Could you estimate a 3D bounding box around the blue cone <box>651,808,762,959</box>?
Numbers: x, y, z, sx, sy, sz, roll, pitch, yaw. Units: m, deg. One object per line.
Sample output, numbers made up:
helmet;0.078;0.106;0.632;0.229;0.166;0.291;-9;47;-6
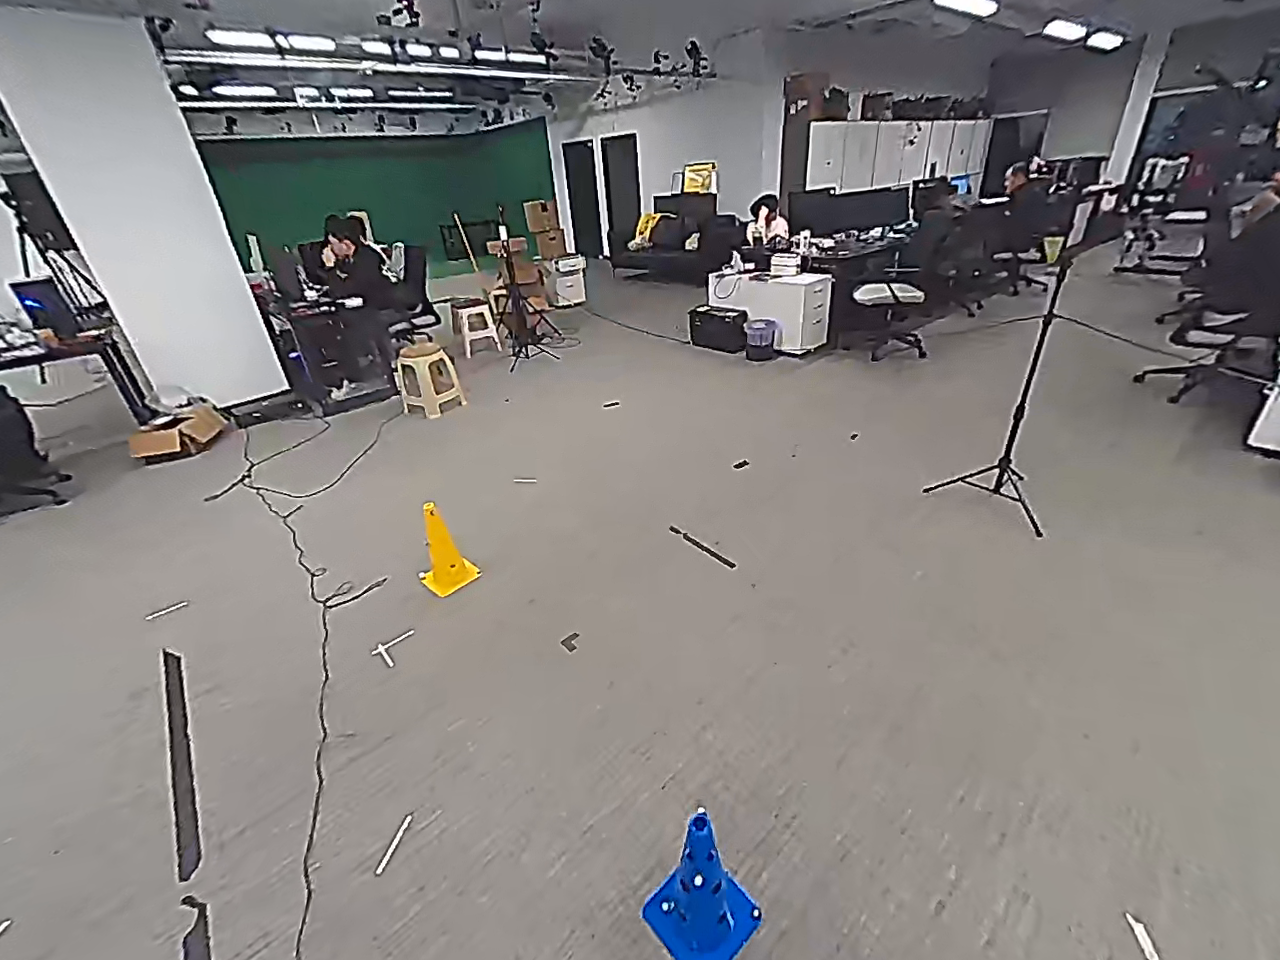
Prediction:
blue cone;0.130;0.797;1.097;0.192;0.380;0.193;-24;35;-33
